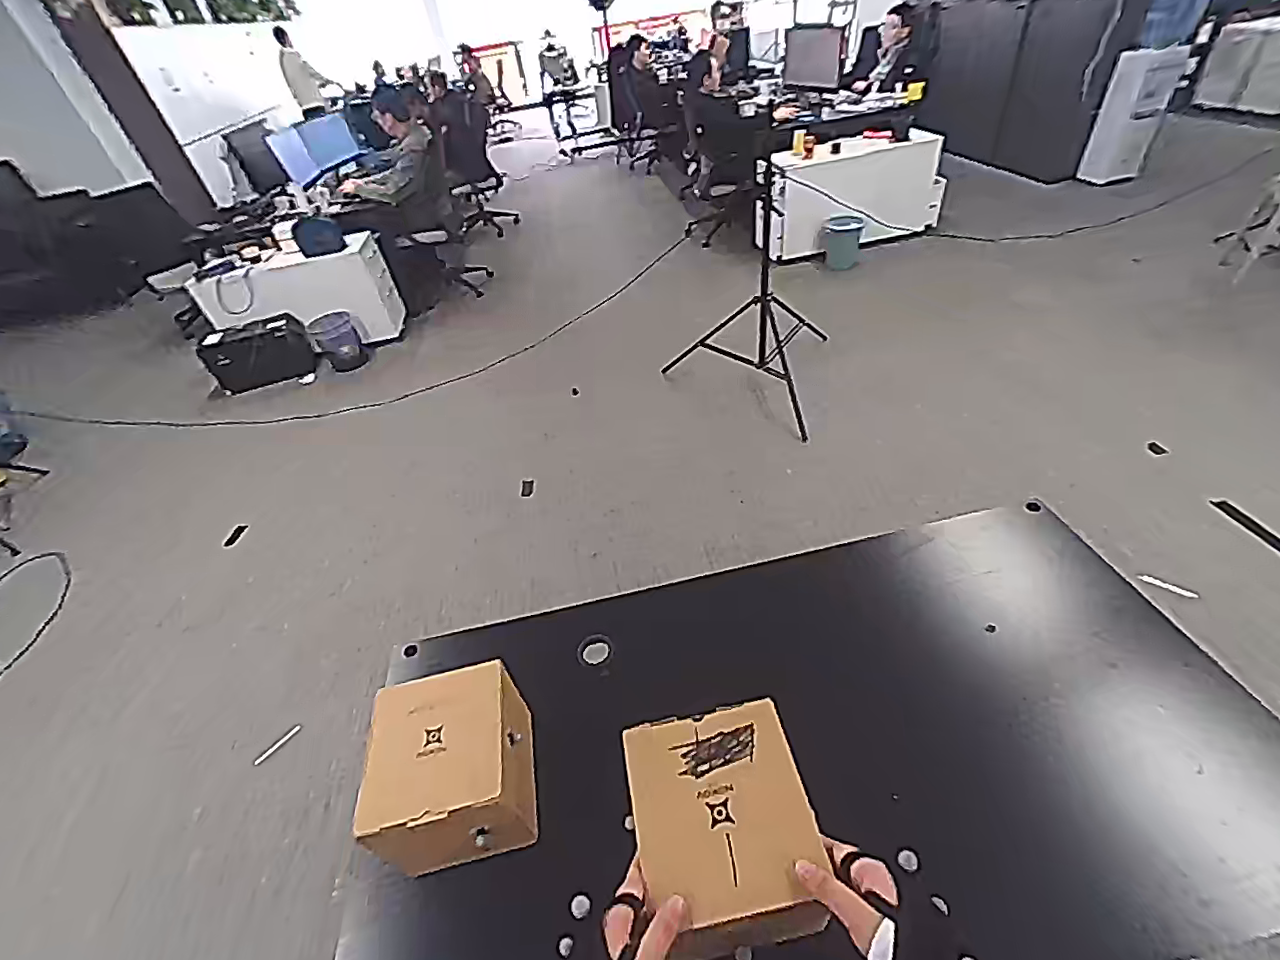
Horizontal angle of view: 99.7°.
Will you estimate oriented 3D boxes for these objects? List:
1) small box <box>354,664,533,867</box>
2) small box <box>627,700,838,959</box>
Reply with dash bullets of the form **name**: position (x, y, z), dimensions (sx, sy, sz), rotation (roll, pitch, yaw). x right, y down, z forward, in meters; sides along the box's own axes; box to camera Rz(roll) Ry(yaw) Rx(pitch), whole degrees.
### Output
- **small box**: position (-0.242, 0.377, 0.708), dimensions (0.168, 0.176, 0.179), rotation (-13, 41, -5)
- **small box**: position (0.085, 0.365, 0.568), dimensions (0.168, 0.176, 0.179), rotation (-11, 42, -2)
